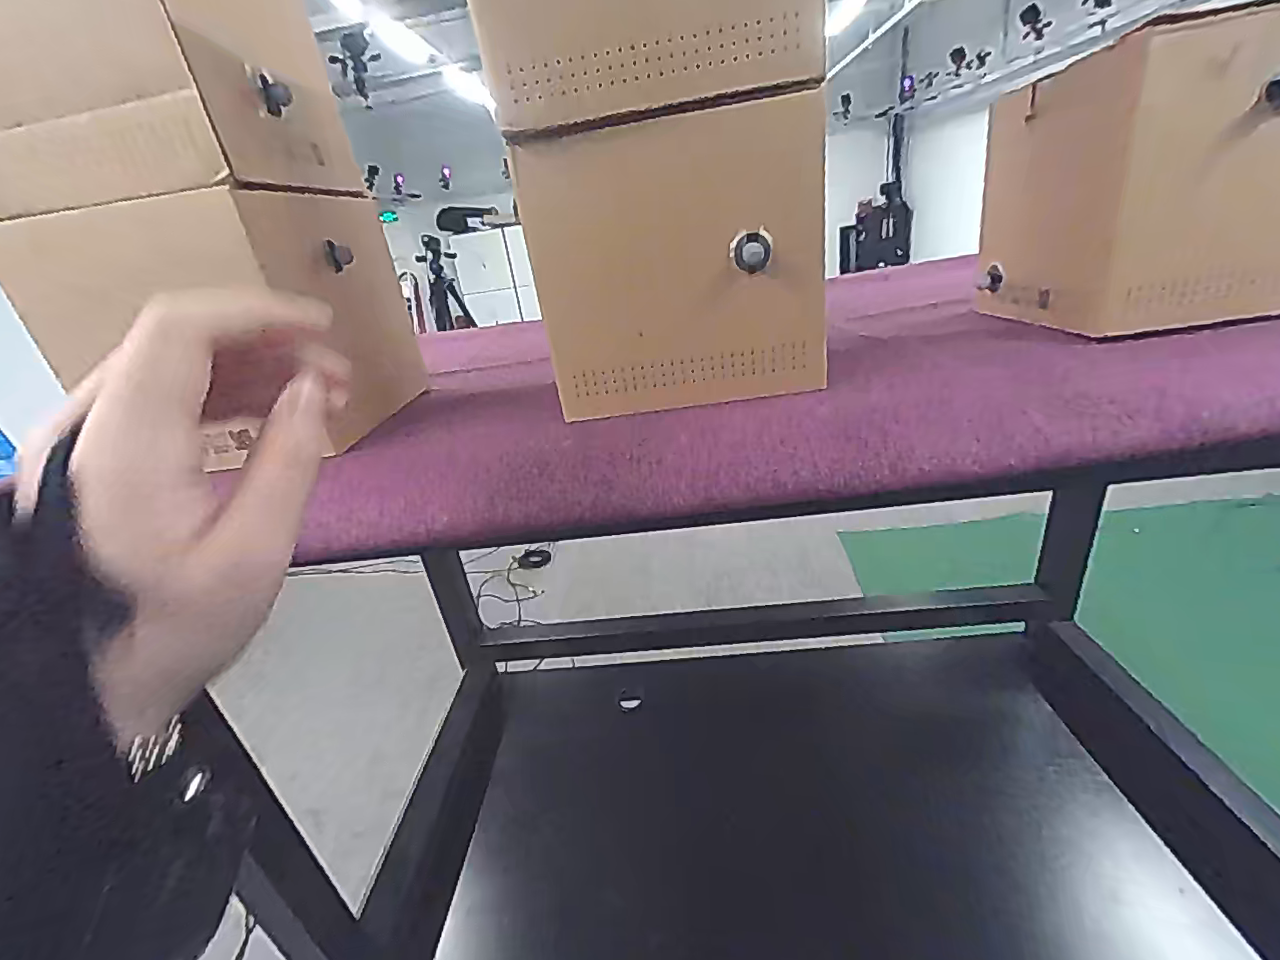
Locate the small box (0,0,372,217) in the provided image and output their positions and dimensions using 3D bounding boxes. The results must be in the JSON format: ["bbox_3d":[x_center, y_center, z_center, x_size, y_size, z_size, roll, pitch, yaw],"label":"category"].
[{"bbox_3d":[-0.316,-0.269,0.356,0.179,0.176,0.168,-6,26,2],"label":"small box"}]

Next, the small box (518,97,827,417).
[{"bbox_3d":[0.029,-0.157,0.404,0.179,0.176,0.168,-7,24,5],"label":"small box"}]

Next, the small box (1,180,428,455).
[{"bbox_3d":[-0.290,-0.124,0.425,0.168,0.176,0.179,-5,25,4],"label":"small box"}]

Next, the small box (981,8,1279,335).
[{"bbox_3d":[0.375,-0.206,0.392,0.179,0.176,0.168,-5,22,7],"label":"small box"}]
